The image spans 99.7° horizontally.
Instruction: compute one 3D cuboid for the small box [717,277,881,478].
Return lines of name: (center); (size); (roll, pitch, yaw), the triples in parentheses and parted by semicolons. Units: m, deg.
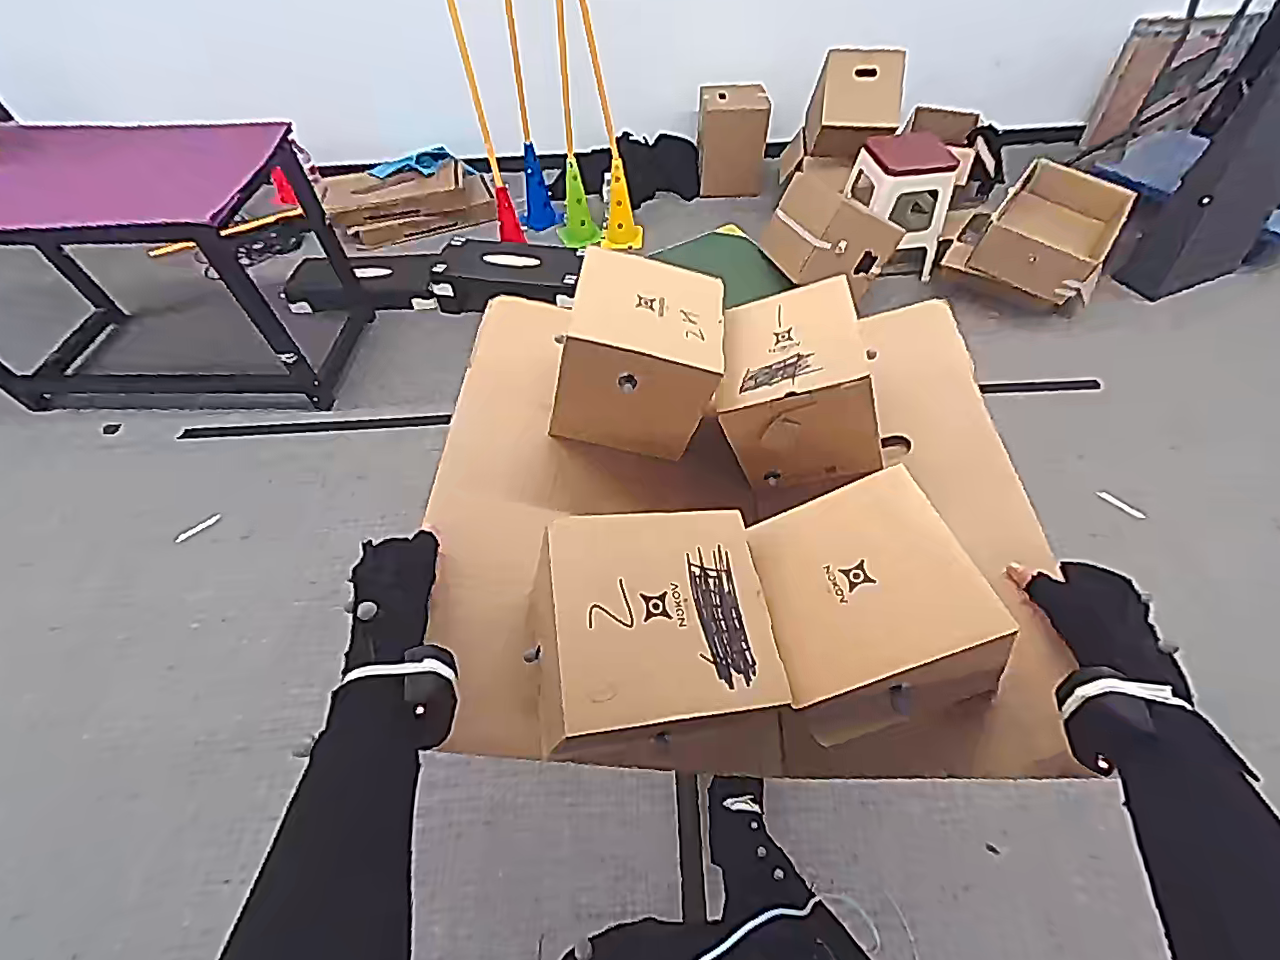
small box: (0.203, -0.117, 0.691); (0.168, 0.176, 0.179); (-11, 52, 22)
